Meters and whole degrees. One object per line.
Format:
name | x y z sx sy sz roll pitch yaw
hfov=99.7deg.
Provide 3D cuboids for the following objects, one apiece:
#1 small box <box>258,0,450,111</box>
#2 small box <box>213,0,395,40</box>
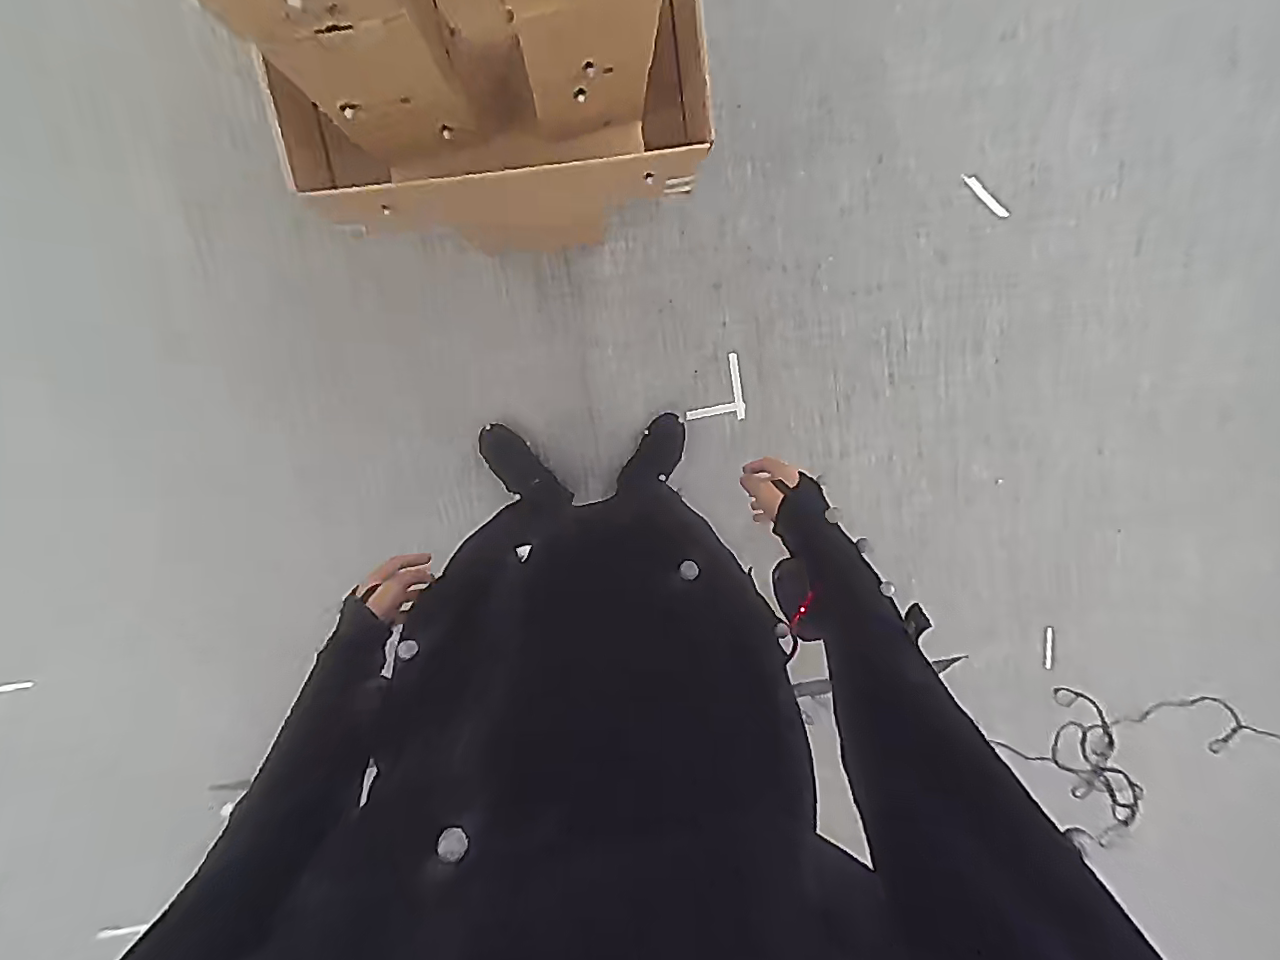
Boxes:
small box | -0.339 -0.563 0.627 0.168 0.176 0.179 -12 100 -2
small box | -0.341 -0.537 0.463 0.168 0.176 0.179 -14 100 -1
